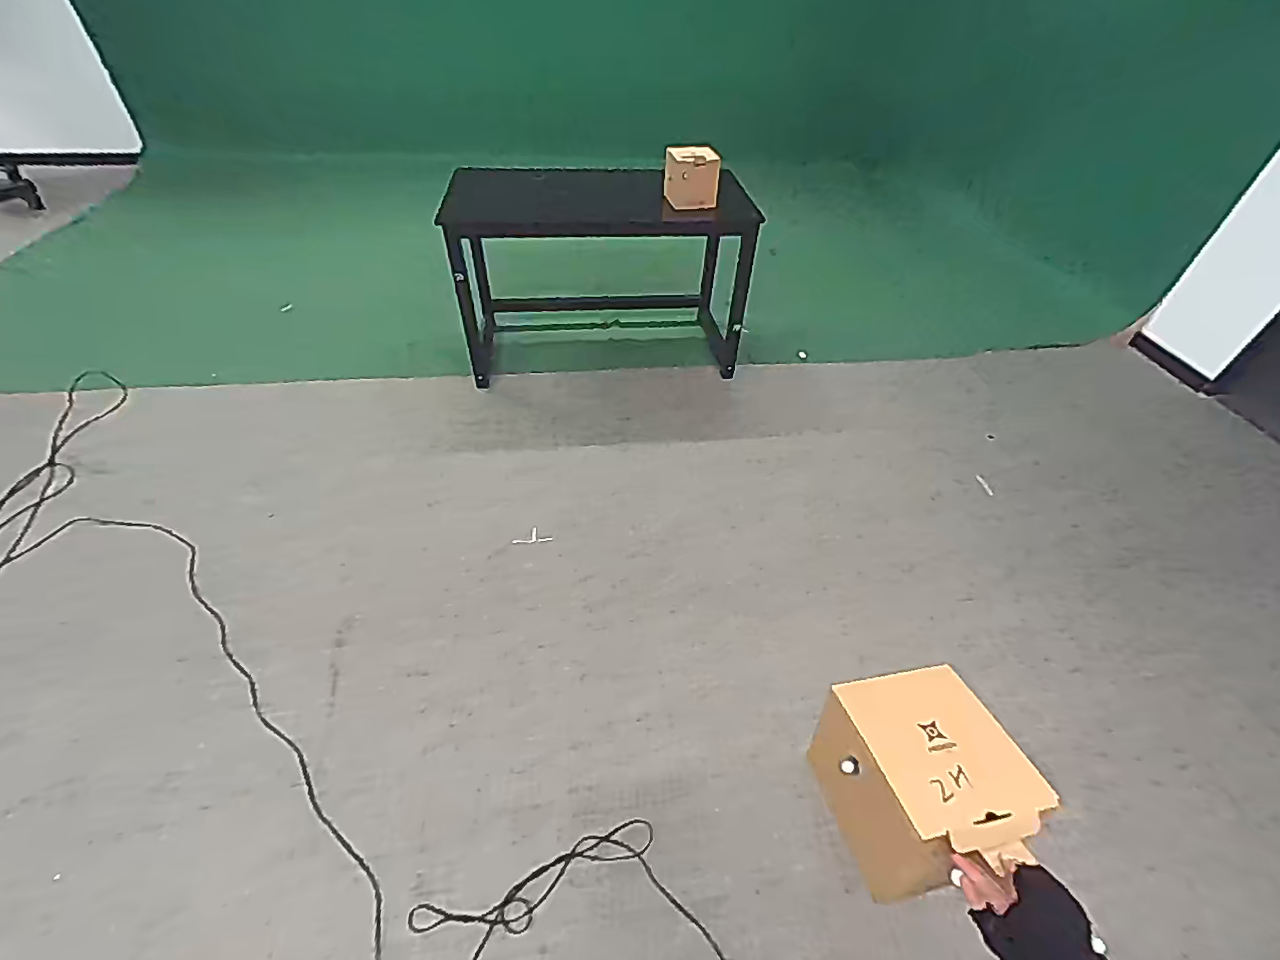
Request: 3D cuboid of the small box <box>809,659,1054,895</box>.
[{"bbox_3d":[0.325,0.350,0.650,0.168,0.176,0.179,-7,35,-11],"label":"small box"}]
